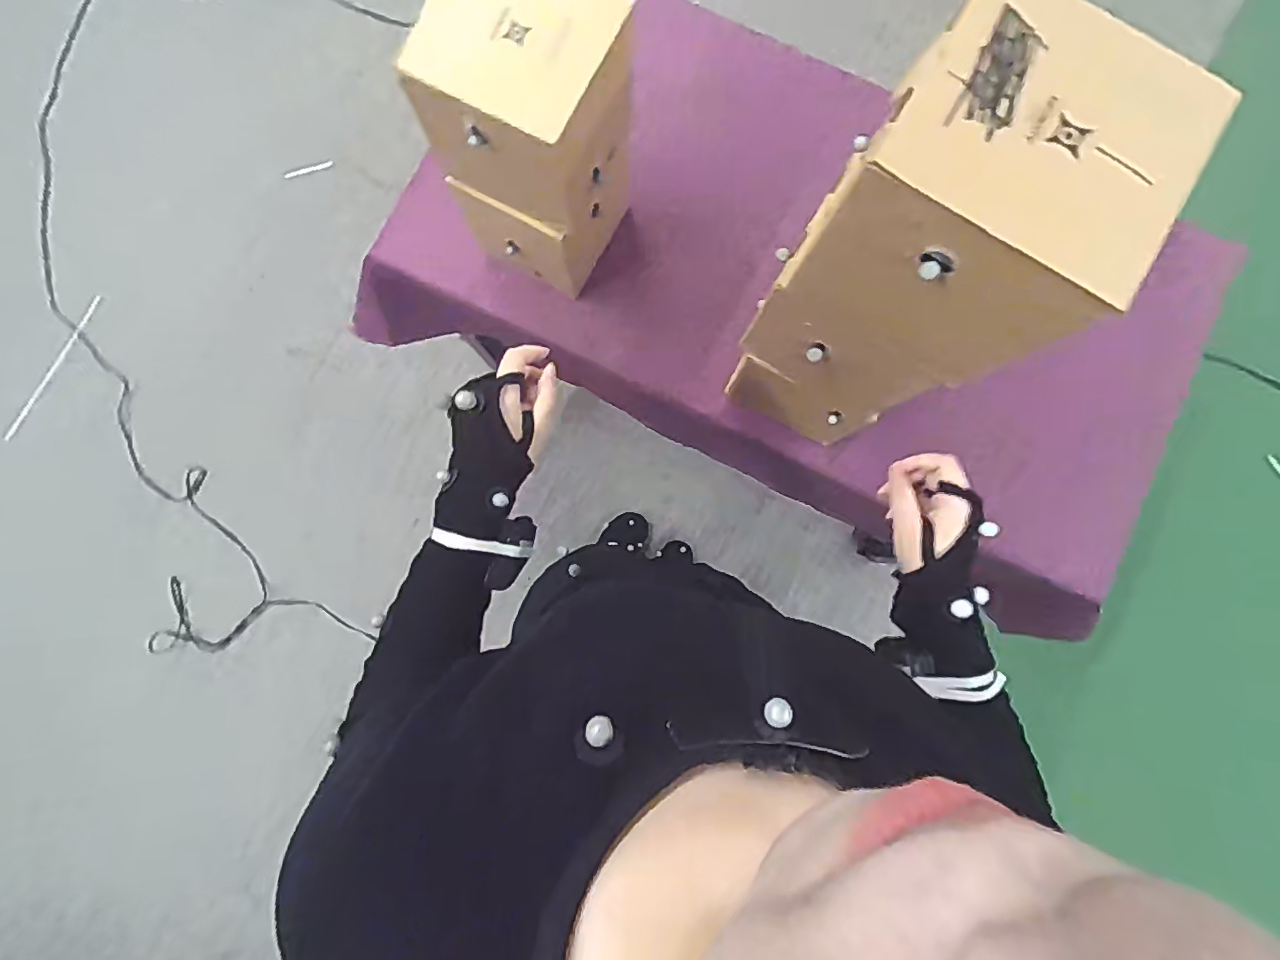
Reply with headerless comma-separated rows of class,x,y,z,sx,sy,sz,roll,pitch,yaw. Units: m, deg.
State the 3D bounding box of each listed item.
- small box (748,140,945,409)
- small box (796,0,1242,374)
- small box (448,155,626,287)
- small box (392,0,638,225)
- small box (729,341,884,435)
small box,0.235,-0.193,0.564,0.179,0.176,0.168,32,86,2
small box,0.245,-0.202,0.400,0.179,0.176,0.168,32,85,1
small box,-0.125,-0.400,0.740,0.168,0.176,0.179,29,85,1
small box,-0.115,-0.411,0.576,0.179,0.176,0.168,28,87,3
small box,0.239,-0.176,0.728,0.179,0.176,0.168,28,85,1
